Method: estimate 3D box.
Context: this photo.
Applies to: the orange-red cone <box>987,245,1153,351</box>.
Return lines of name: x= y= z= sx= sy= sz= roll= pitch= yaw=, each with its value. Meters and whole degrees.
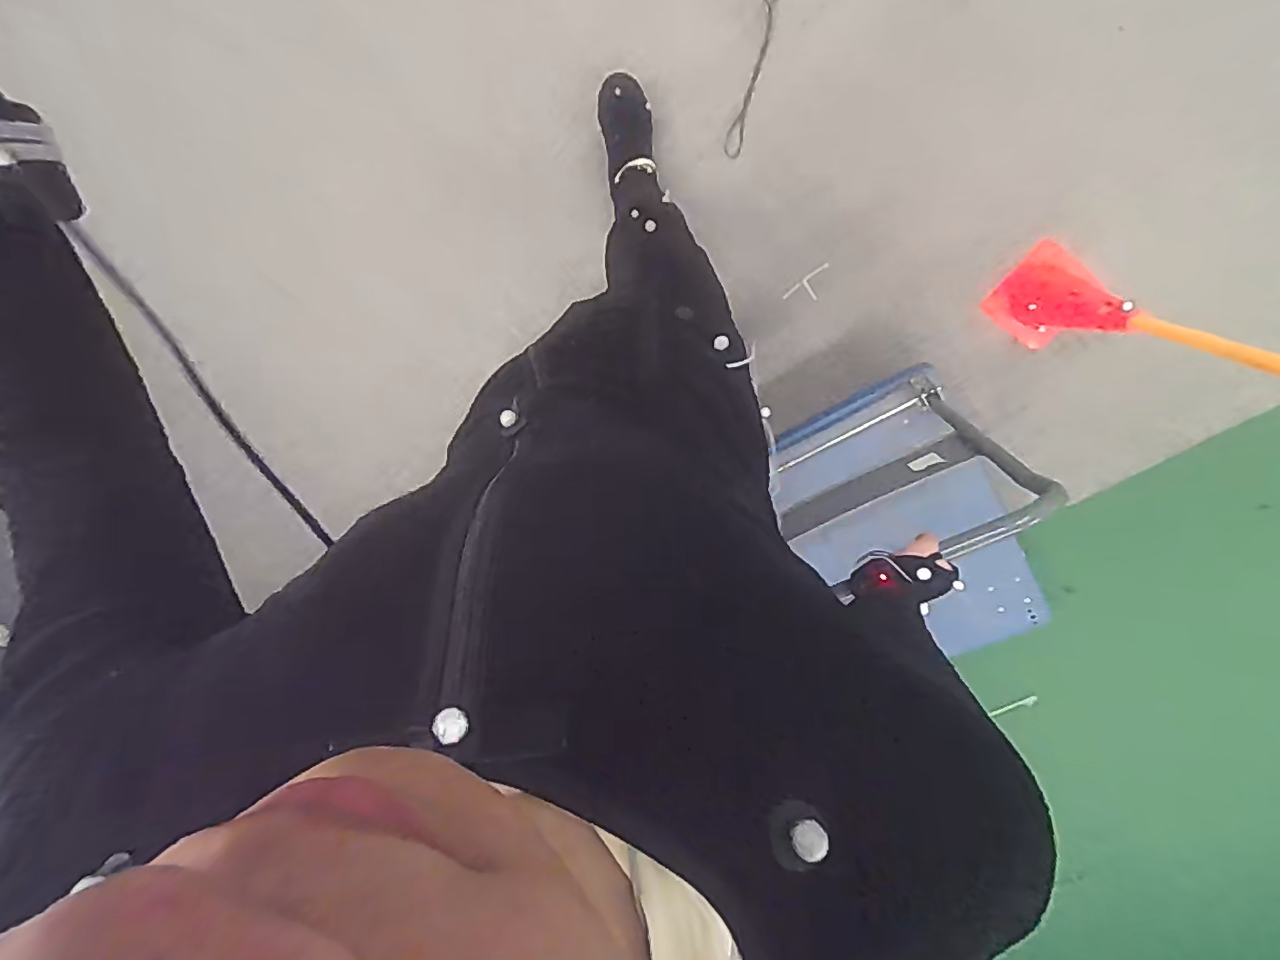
orange-red cone: x=0.966 y=-0.366 z=1.172 sx=0.198 sy=0.360 sz=0.199 roll=35 pitch=115 yaw=-10
